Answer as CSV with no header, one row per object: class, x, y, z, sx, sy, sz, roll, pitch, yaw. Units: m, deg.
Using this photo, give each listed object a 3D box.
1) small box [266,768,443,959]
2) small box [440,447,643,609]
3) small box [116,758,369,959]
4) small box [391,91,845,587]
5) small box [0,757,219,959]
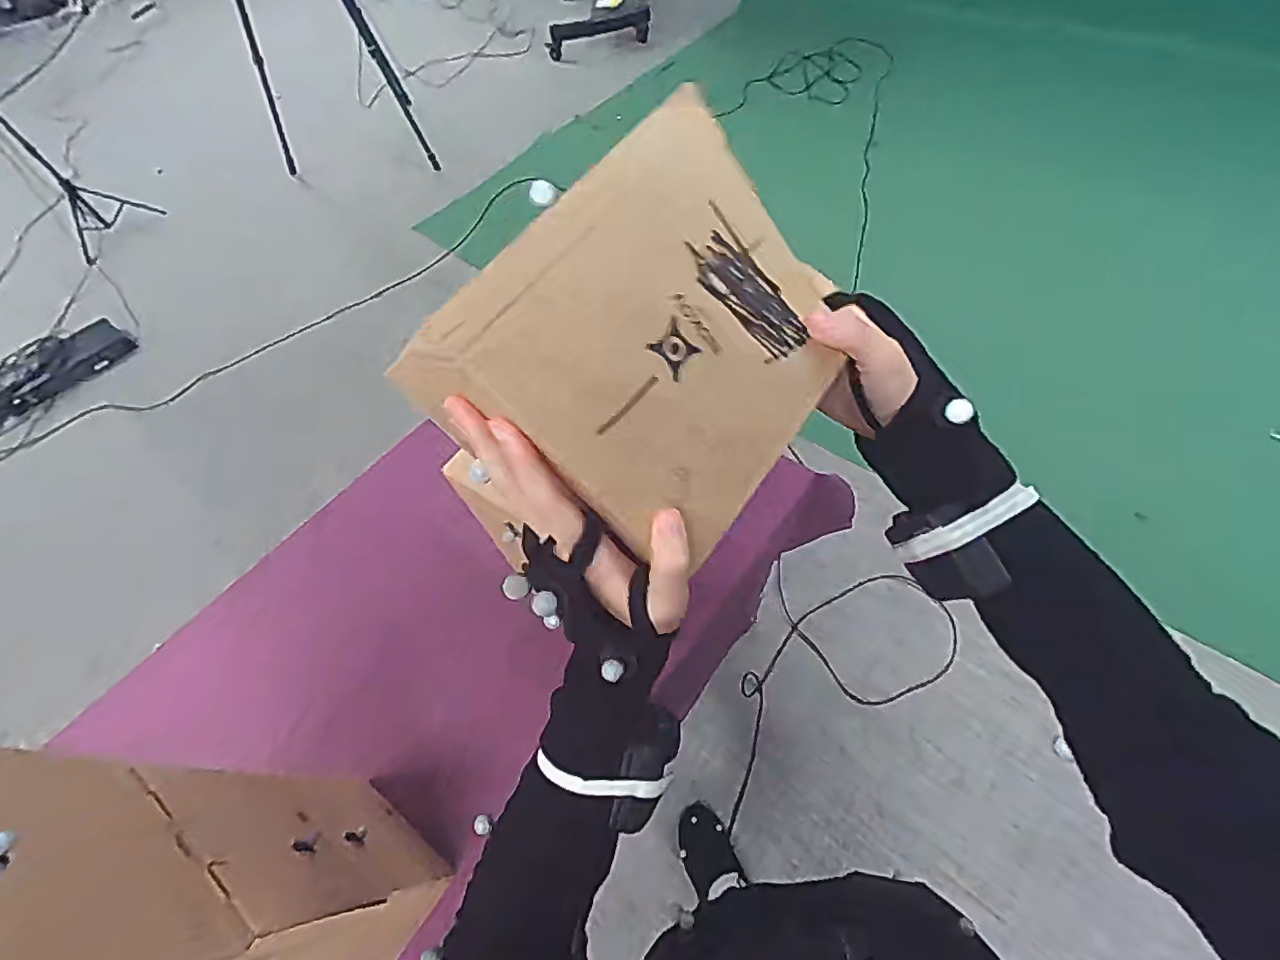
small box,-0.334,0.422,0.537,0.168,0.176,0.179,30,66,21
small box,-0.063,0.009,0.563,0.179,0.176,0.168,28,66,22
small box,-0.346,0.341,0.396,0.168,0.176,0.179,29,65,22
small box,-0.021,-0.070,0.323,0.179,0.168,0.176,-50,26,-17
small box,-0.363,0.253,0.260,0.179,0.176,0.168,31,65,24
